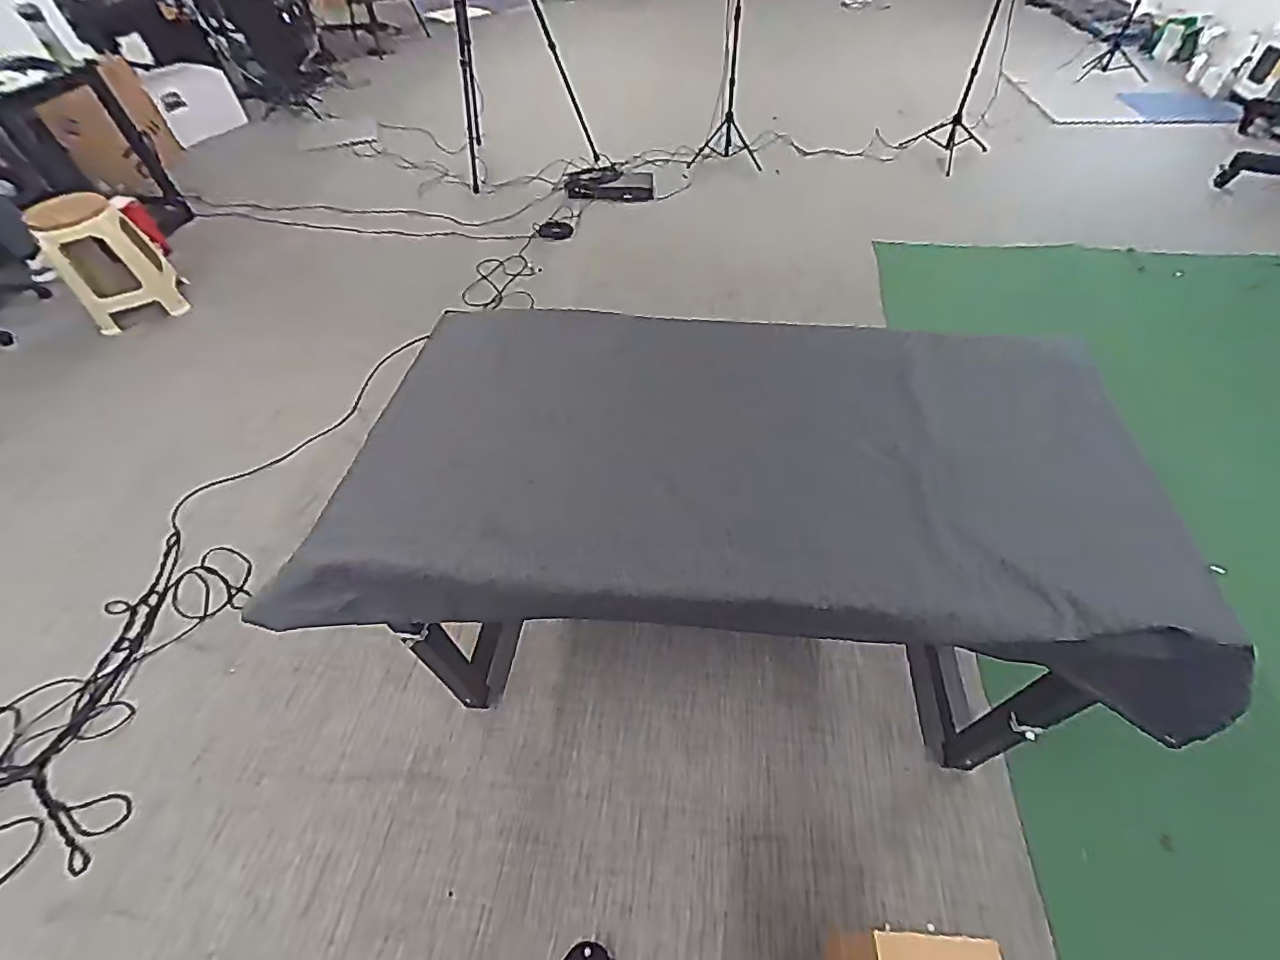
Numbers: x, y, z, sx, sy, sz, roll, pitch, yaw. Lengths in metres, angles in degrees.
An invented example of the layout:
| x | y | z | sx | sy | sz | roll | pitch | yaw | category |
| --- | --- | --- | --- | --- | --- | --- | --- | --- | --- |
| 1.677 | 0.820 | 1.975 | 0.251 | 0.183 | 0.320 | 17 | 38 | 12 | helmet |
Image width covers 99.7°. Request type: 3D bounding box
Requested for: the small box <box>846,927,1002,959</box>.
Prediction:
| x | y | z | sx | sy | sz | roll | pitch | yaw | category |
| --- | --- | --- | --- | --- | --- | --- | --- | --- | --- |
| 0.423 | 0.767 | 0.792 | 0.179 | 0.176 | 0.168 | 1 | 50 | 4 | small box |

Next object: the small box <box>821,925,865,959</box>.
| x | y | z | sx | sy | sz | roll | pitch | yaw | category |
| --- | --- | --- | --- | --- | --- | --- | --- | --- | --- |
| 0.422 | 0.871 | 0.918 | 0.179 | 0.176 | 0.168 | 2 | 50 | 5 | small box |
